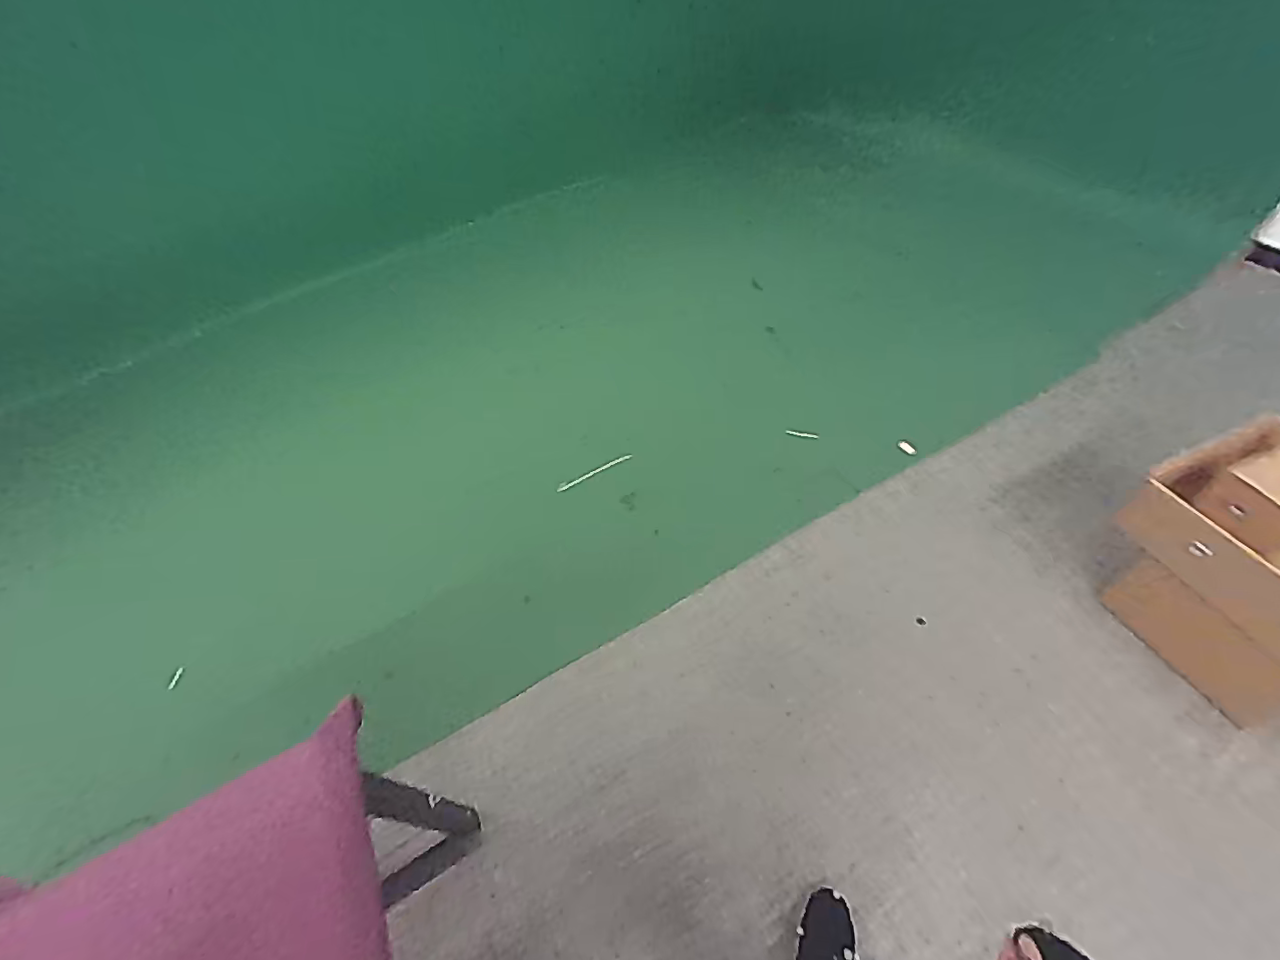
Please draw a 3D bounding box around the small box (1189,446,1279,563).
[{"bbox_3d":[1.420,0.055,1.213,0.168,0.176,0.179,-20,50,-5],"label":"small box"}]
